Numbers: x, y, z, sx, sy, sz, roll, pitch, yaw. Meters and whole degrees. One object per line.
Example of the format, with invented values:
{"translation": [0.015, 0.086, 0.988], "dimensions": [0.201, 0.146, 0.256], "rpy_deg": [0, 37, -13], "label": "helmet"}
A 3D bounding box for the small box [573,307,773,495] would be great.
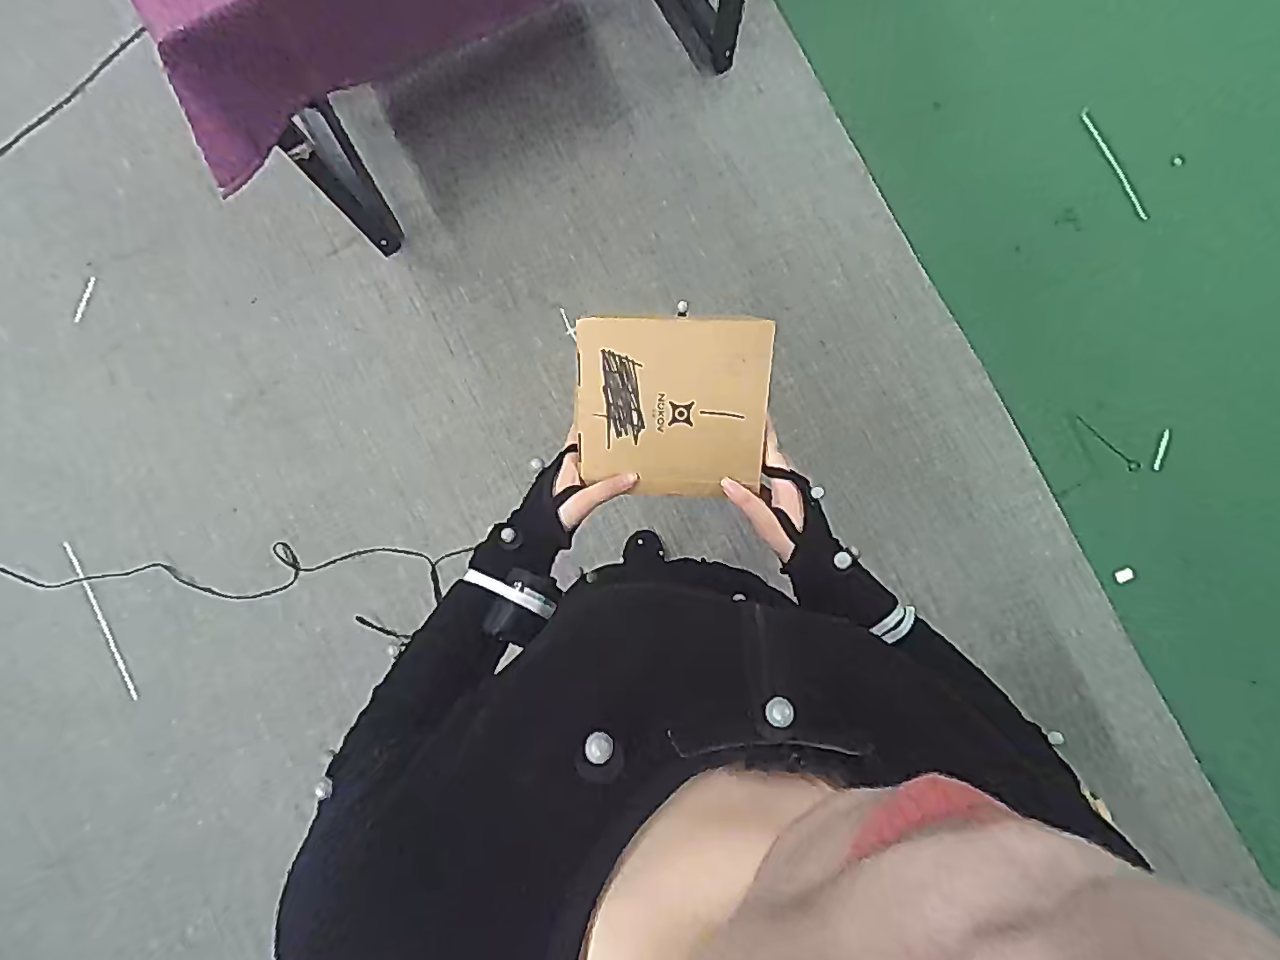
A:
{"translation": [0.029, -0.092, 0.568], "dimensions": [0.179, 0.176, 0.168], "rpy_deg": [2, 109, 1], "label": "small box"}
